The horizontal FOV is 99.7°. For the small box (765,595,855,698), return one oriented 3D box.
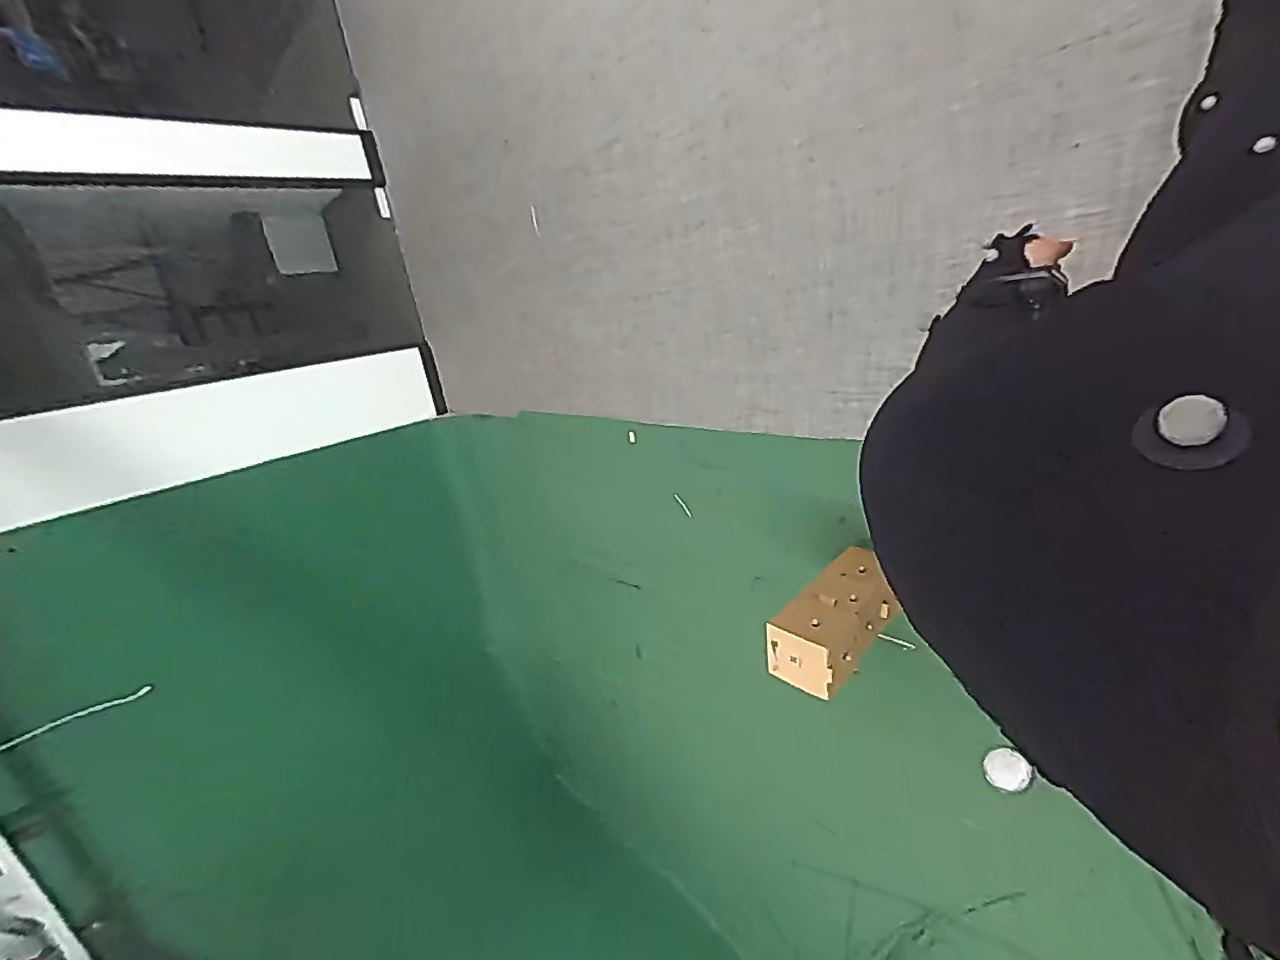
[{"bbox_3d":[0.450,0.428,1.426,0.179,0.176,0.168,15,119,44],"label":"small box"}]

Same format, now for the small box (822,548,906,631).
[{"bbox_3d":[0.677,0.322,1.639,0.179,0.176,0.168,16,120,43],"label":"small box"}]
